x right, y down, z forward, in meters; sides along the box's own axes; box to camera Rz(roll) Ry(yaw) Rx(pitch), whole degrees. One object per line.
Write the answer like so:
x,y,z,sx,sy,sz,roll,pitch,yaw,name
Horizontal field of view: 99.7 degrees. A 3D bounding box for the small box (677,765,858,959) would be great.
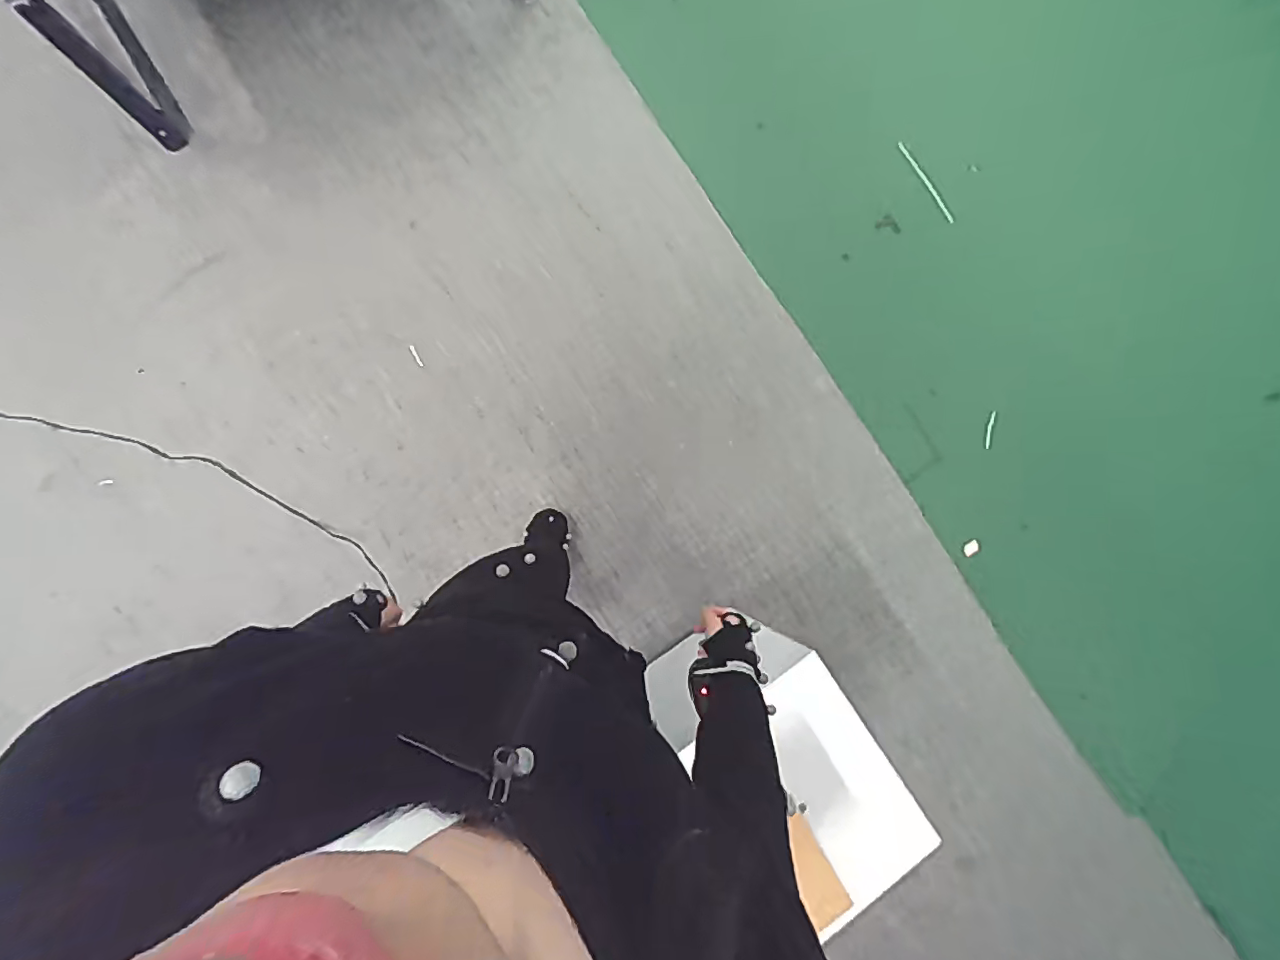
0.176,0.568,0.799,0.168,0.176,0.179,-31,88,-9,small box
